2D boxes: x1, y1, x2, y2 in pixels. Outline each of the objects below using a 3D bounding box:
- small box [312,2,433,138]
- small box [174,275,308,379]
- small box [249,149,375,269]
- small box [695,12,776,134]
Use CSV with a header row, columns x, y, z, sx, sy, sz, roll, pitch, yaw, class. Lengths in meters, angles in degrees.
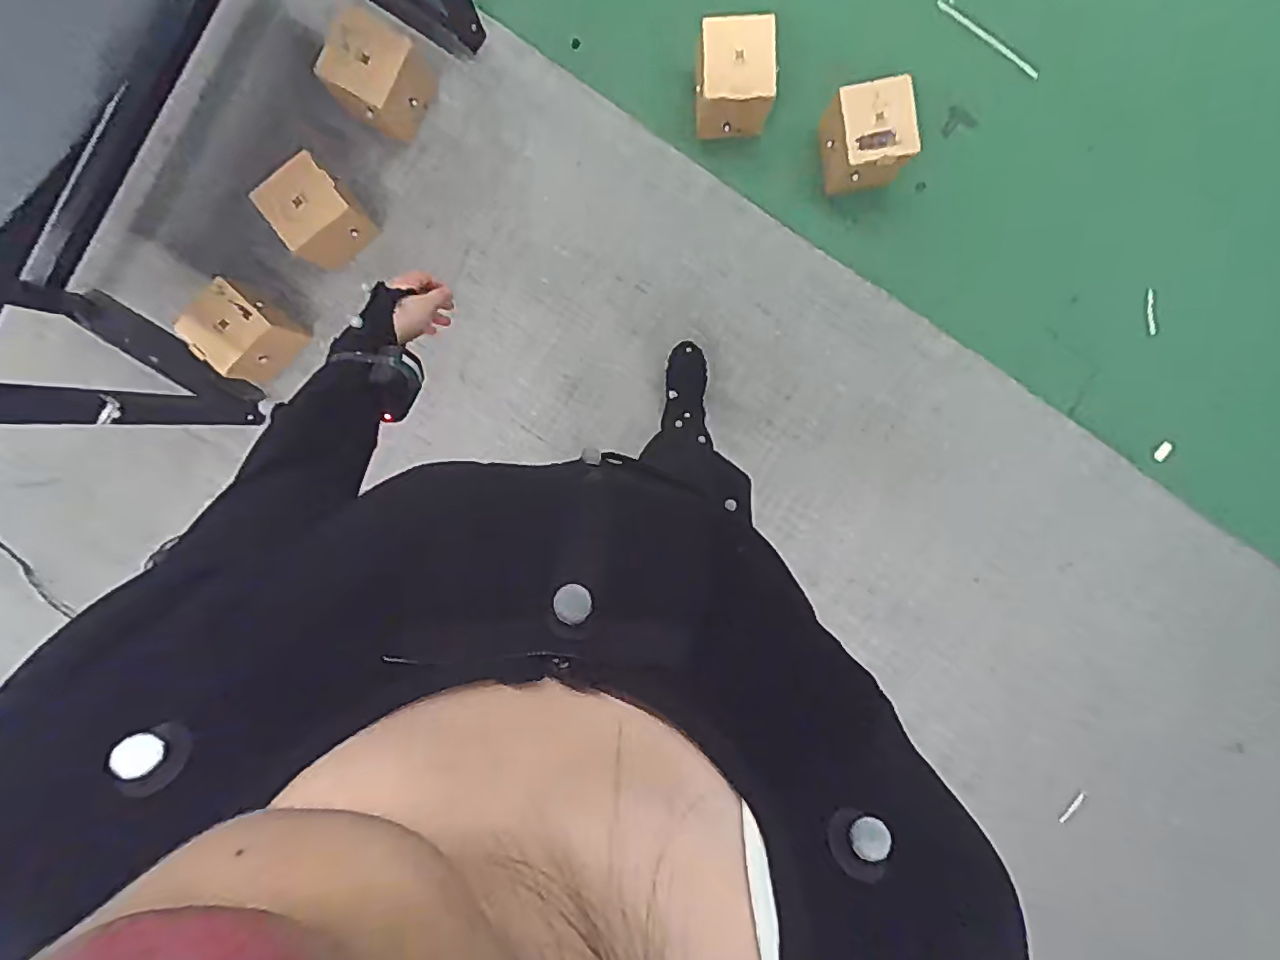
x,y,z,sx,sy,sz,roll,pitch,yaw,class
-0.627,-0.963,1.292,0.179,0.176,0.168,28,95,-3,small box
-0.987,-0.372,1.355,0.179,0.176,0.168,-45,94,5,small box
-0.786,-0.653,1.326,0.179,0.176,0.168,-37,94,5,small box
0.224,-0.965,1.294,0.168,0.176,0.179,-3,96,0,small box
